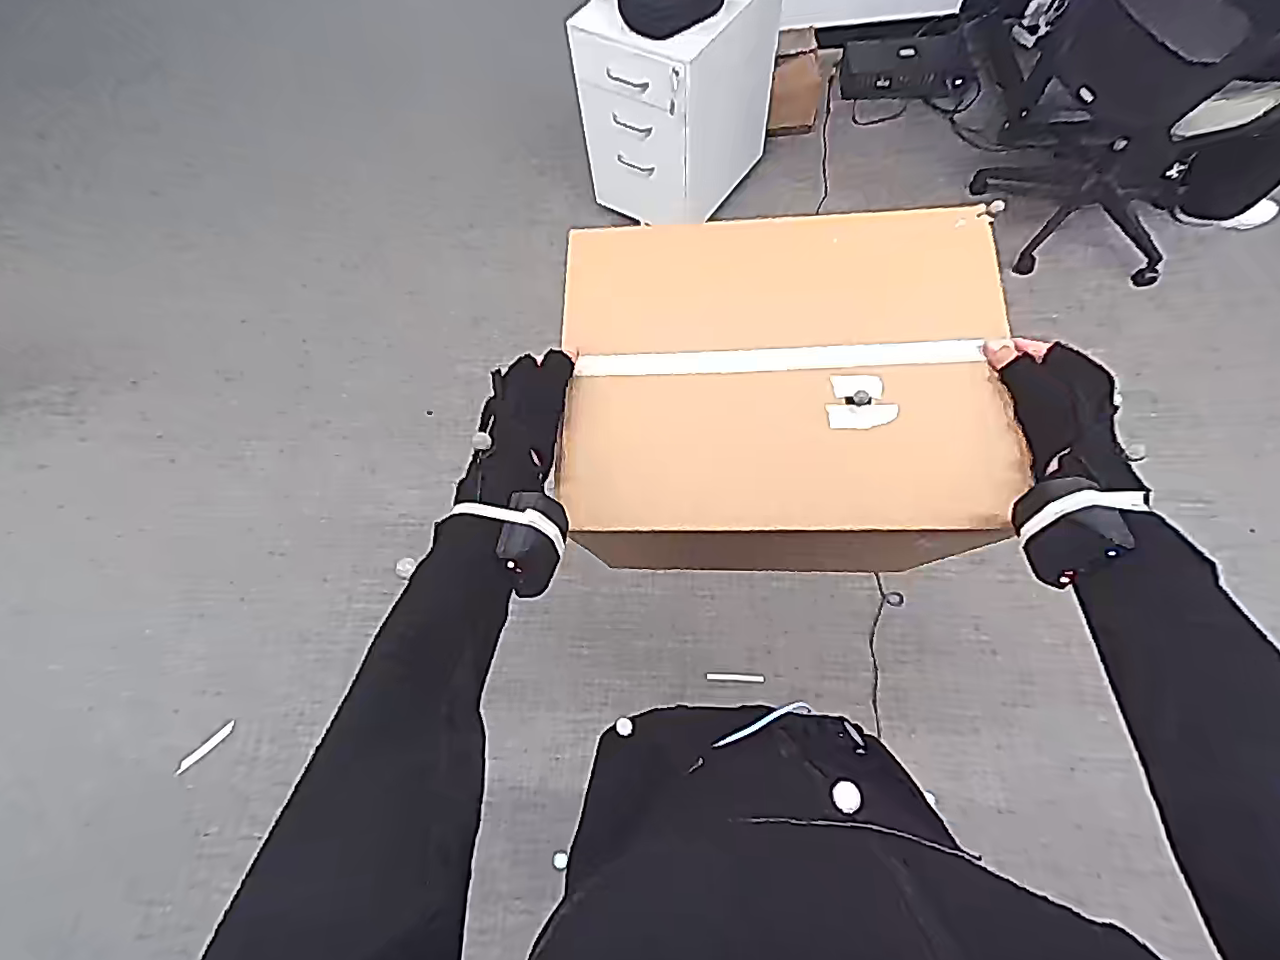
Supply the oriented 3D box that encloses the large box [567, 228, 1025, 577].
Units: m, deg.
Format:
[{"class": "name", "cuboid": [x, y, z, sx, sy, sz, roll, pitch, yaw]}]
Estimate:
[{"class": "large box", "cuboid": [0.142, -0.057, 0.657, 0.408, 0.320, 0.320, -1, 74, 5]}]
